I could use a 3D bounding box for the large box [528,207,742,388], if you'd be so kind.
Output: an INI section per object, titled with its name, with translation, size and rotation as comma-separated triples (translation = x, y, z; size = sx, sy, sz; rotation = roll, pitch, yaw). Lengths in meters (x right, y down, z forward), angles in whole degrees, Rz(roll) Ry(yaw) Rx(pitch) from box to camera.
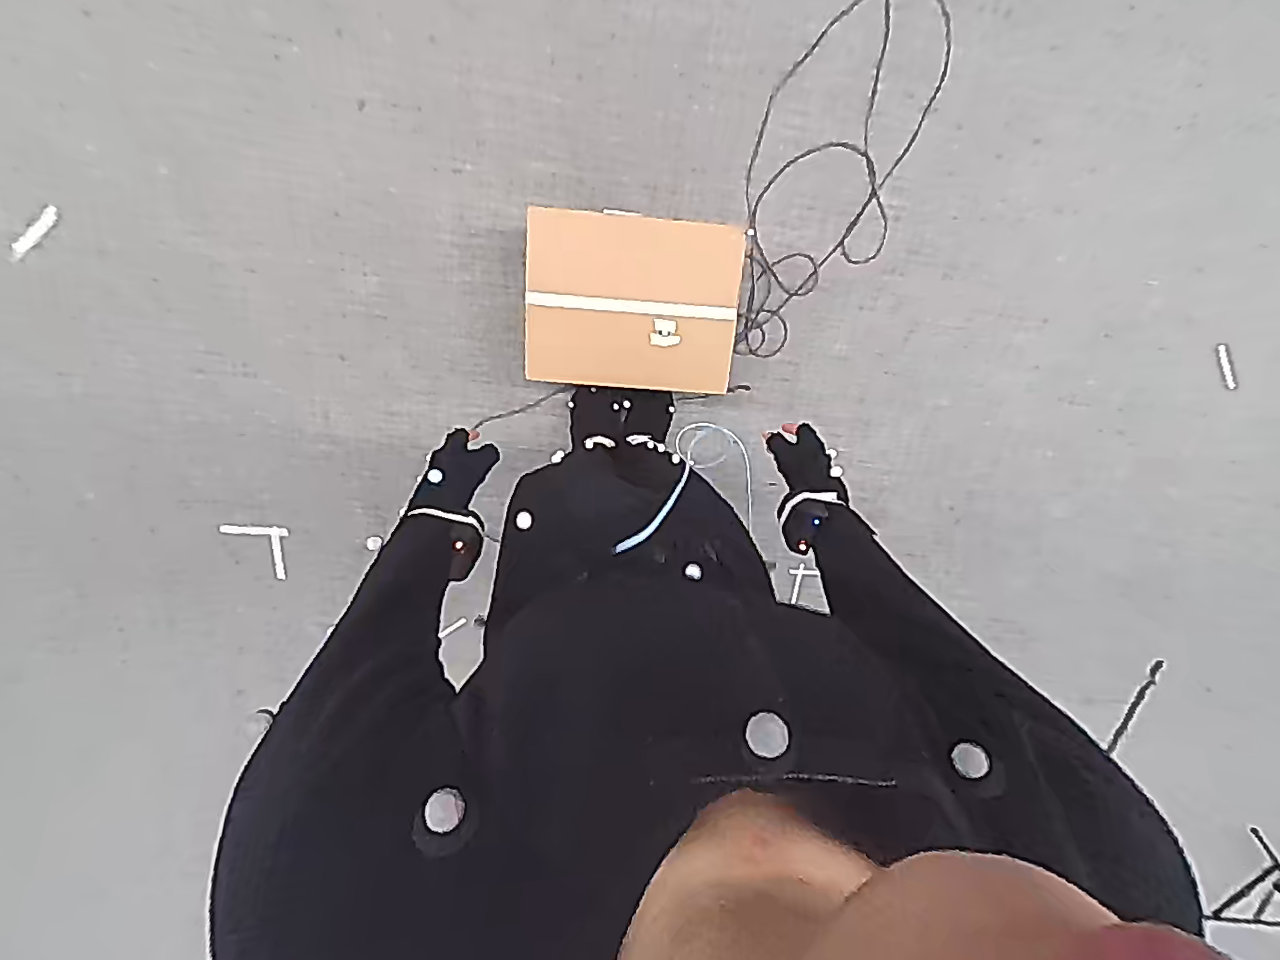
[large box]
translation = -0.026, -0.387, 1.183
size = 0.408, 0.320, 0.320
rotation = 3, 109, -5
